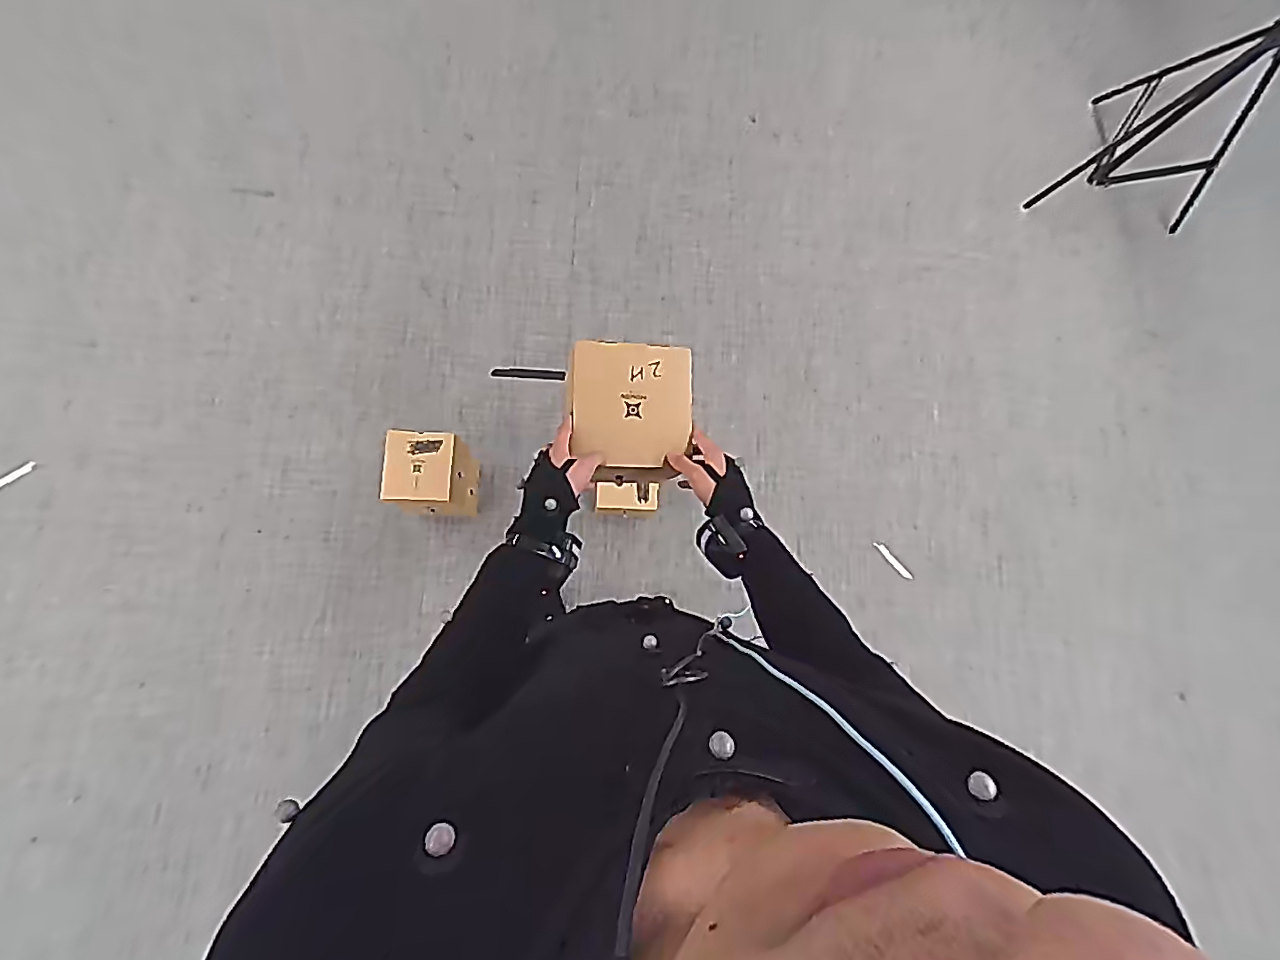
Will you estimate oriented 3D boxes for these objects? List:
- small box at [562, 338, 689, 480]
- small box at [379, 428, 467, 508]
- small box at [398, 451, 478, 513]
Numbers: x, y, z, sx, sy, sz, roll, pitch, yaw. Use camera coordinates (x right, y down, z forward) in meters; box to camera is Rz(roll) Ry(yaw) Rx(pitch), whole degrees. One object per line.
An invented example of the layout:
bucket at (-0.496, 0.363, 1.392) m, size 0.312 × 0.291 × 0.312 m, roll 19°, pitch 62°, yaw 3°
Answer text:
small box at (-0.028, -0.094, 0.808) m, size 0.168 × 0.176 × 0.179 m, roll 1°, pitch 83°, yaw -12°
small box at (-0.552, -0.026, 1.400) m, size 0.168 × 0.176 × 0.179 m, roll 2°, pitch 81°, yaw -5°
small box at (-0.573, 0.005, 1.560) m, size 0.179 × 0.176 × 0.168 m, roll 2°, pitch 80°, yaw -5°
